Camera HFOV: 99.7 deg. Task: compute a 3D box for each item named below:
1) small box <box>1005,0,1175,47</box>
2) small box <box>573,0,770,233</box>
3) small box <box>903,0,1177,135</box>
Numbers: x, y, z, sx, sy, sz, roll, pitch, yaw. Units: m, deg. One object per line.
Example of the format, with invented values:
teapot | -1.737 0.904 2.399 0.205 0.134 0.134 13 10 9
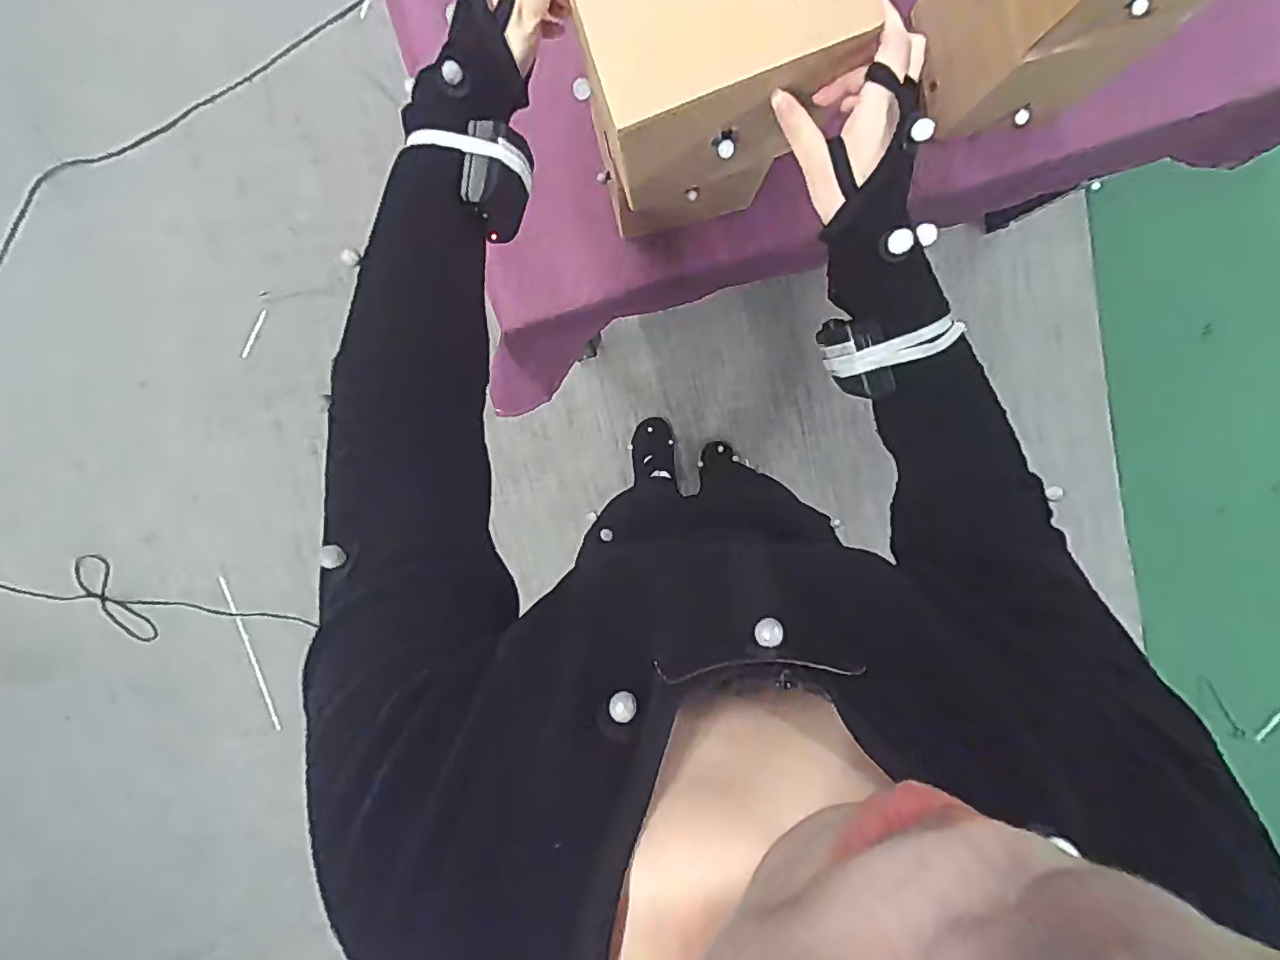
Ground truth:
small box | 0.431 -0.523 0.451 0.168 0.176 0.179 -14 98 2
small box | 0.034 -0.411 0.631 0.179 0.176 0.168 -14 98 1
small box | 0.436 -0.534 0.614 0.179 0.176 0.168 -15 97 1
